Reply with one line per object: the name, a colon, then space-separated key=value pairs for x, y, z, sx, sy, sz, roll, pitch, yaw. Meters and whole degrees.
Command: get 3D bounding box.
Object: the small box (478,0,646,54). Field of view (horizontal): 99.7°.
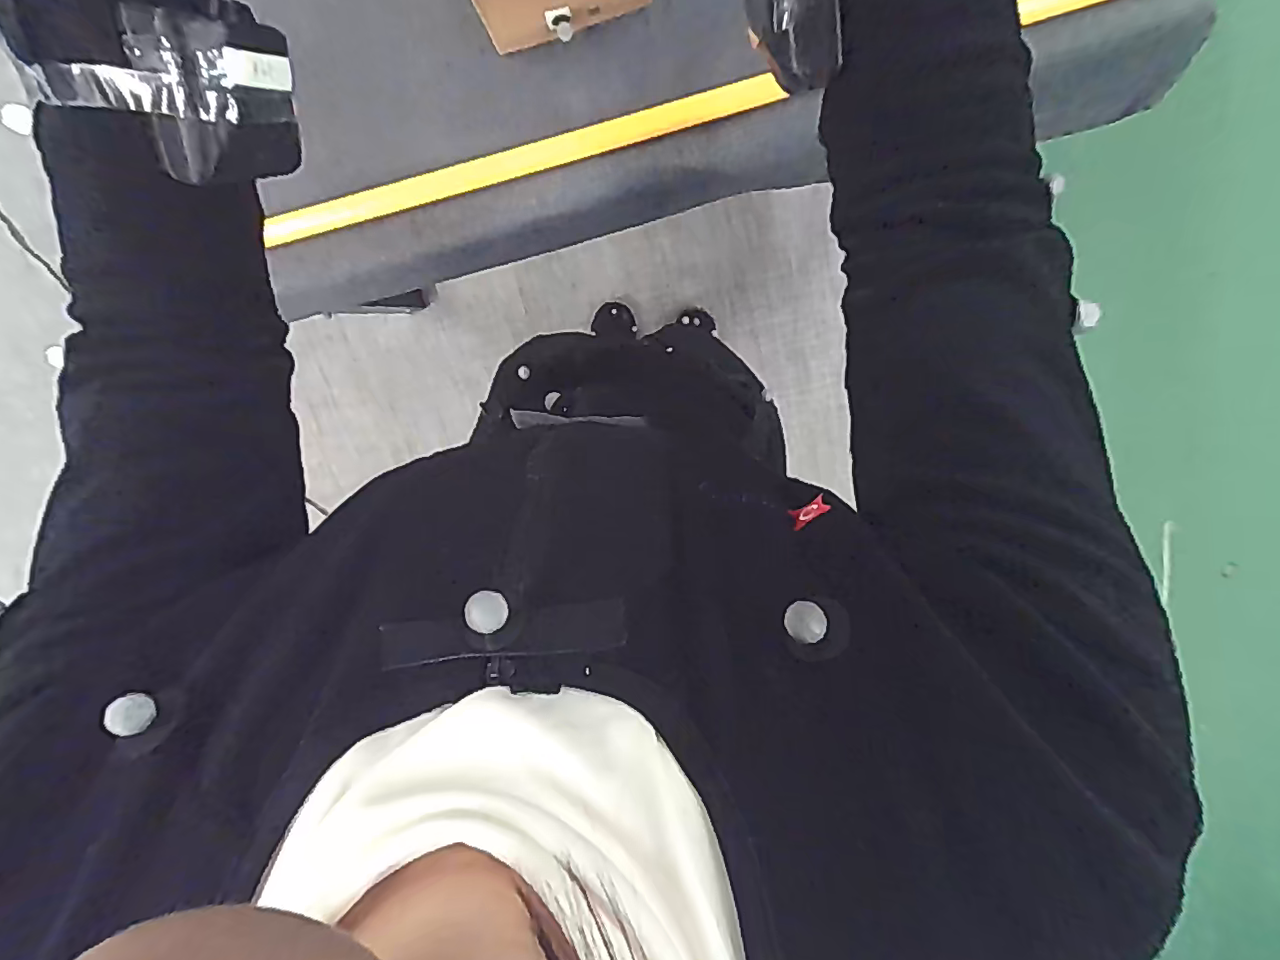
small box: x=-0.090 y=-0.522 z=0.463 sx=0.168 sy=0.176 sz=0.179 roll=-16 pitch=107 yaw=6
